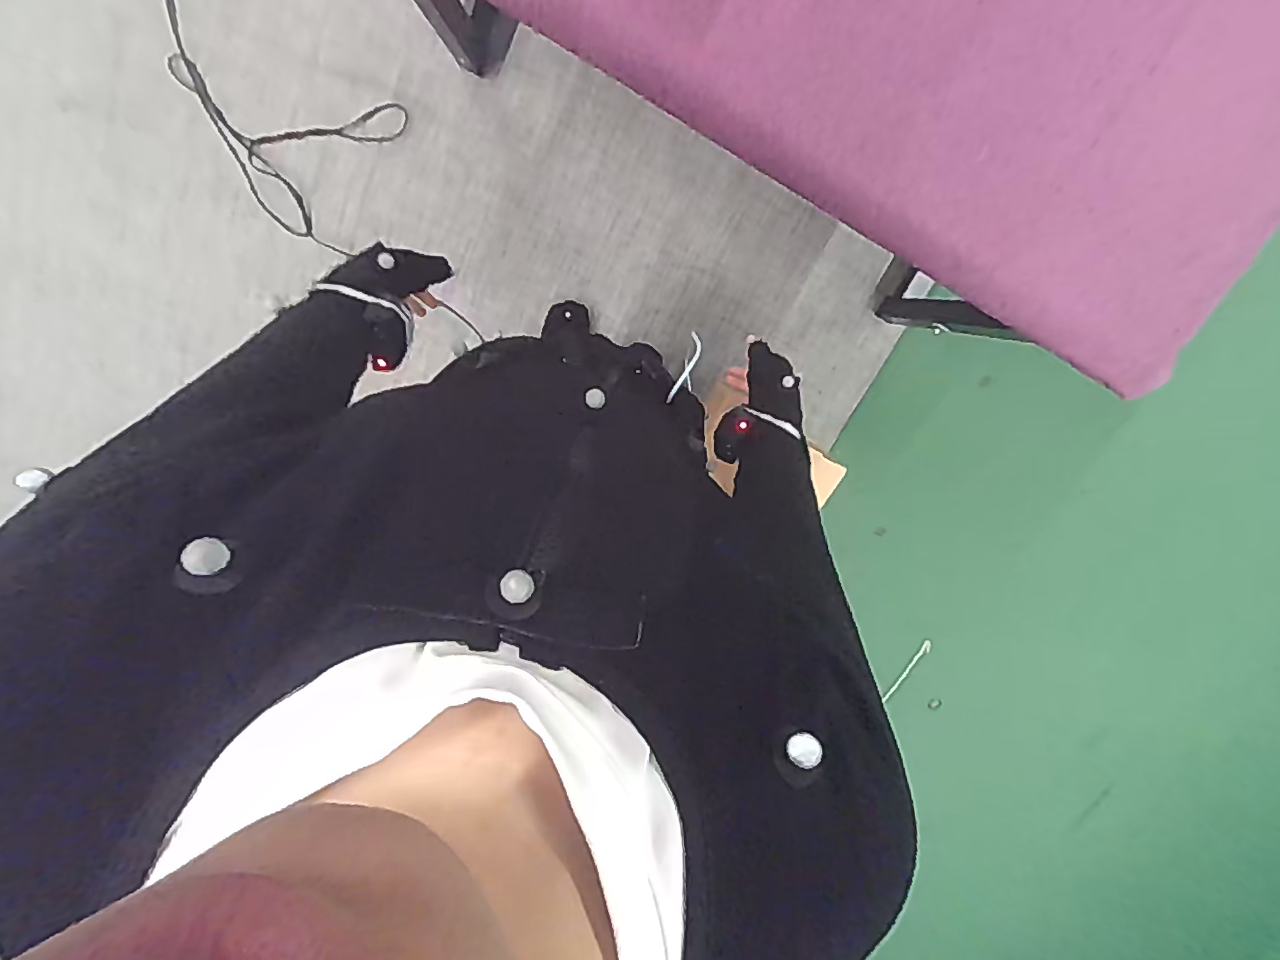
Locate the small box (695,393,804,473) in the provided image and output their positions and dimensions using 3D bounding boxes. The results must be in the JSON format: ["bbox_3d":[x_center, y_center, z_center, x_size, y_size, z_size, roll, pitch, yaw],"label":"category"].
[{"bbox_3d":[0.244,-0.081,1.263,0.168,0.176,0.179,29,105,-13],"label":"small box"}]

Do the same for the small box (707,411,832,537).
[{"bbox_3d":[0.254,-0.018,1.113,0.168,0.176,0.179,27,105,-13],"label":"small box"}]
